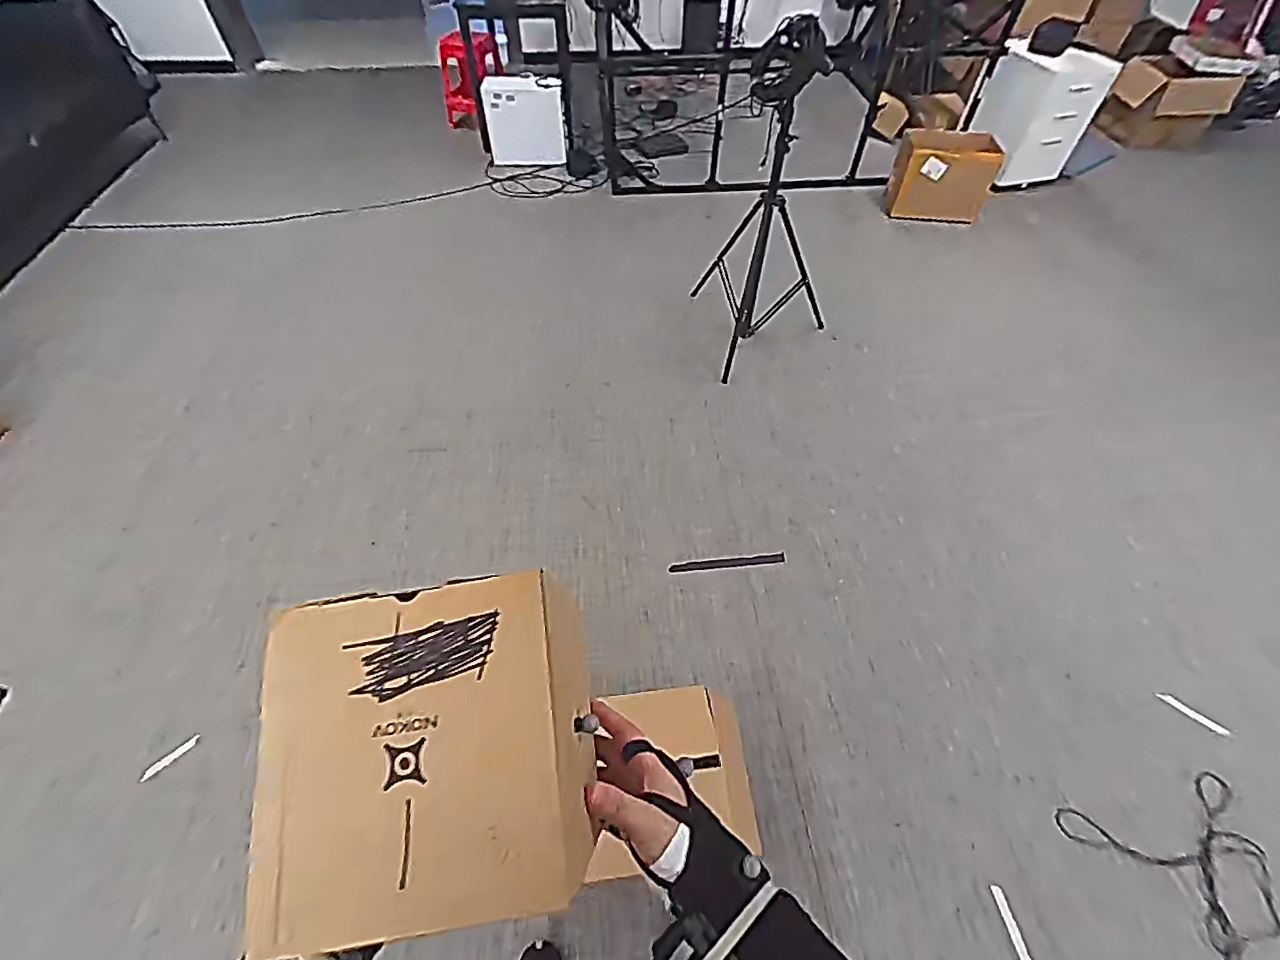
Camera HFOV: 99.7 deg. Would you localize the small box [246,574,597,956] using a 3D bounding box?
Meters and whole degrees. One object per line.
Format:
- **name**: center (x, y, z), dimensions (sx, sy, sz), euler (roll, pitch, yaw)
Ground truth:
- **small box**: center (-0.126, 0.176, 0.377), dimensions (0.168, 0.176, 0.179), euler (-9, 70, -1)
